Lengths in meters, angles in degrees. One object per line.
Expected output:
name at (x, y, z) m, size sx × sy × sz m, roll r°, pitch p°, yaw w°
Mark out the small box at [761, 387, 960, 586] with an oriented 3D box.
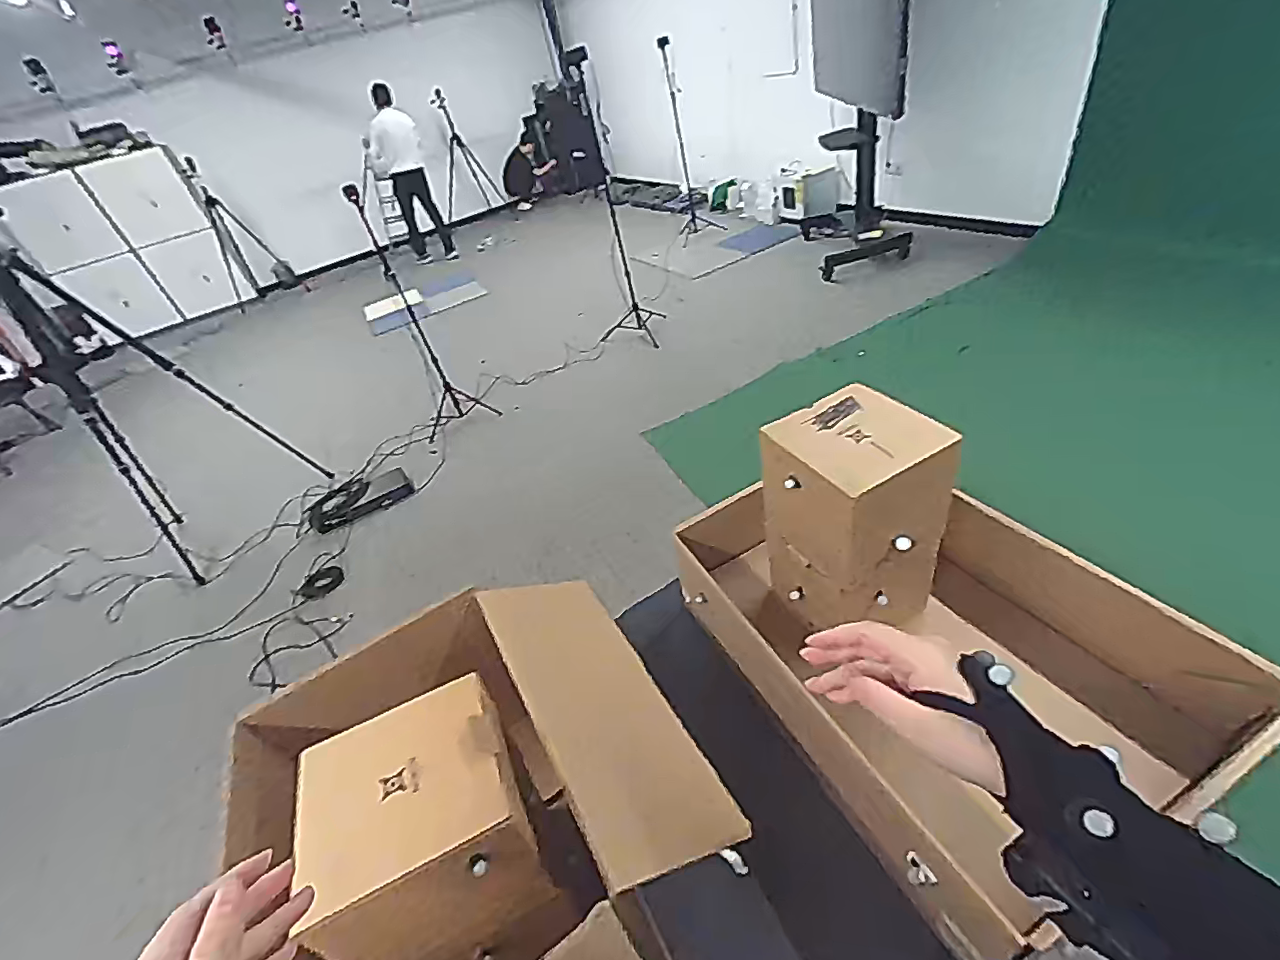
small box at (0.281, 0.006, 0.722) m, size 0.168 × 0.176 × 0.179 m, roll -26°, pitch 40°, yaw -13°
